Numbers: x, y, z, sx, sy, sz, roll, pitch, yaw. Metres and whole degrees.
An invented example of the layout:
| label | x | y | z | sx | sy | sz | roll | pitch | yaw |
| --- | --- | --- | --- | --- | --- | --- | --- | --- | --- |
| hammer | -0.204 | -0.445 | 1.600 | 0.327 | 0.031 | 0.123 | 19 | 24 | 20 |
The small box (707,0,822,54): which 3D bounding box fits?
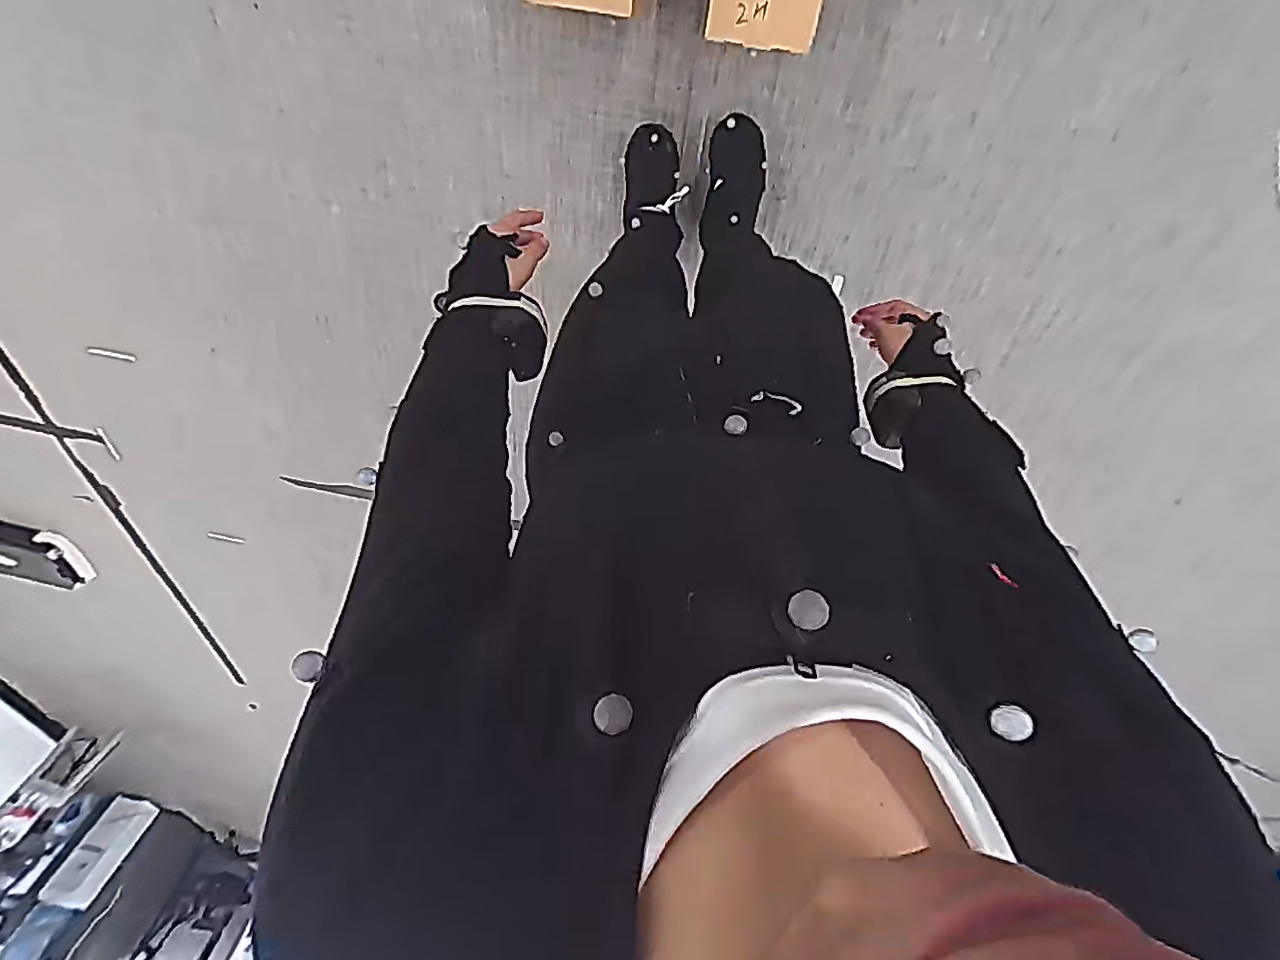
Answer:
| label | x | y | z | sx | sy | sz | roll | pitch | yaw |
| --- | --- | --- | --- | --- | --- | --- | --- | --- | --- |
| small box | 0.204 | -0.793 | 0.848 | 0.168 | 0.176 | 0.179 | 10 | 131 | 3 |
